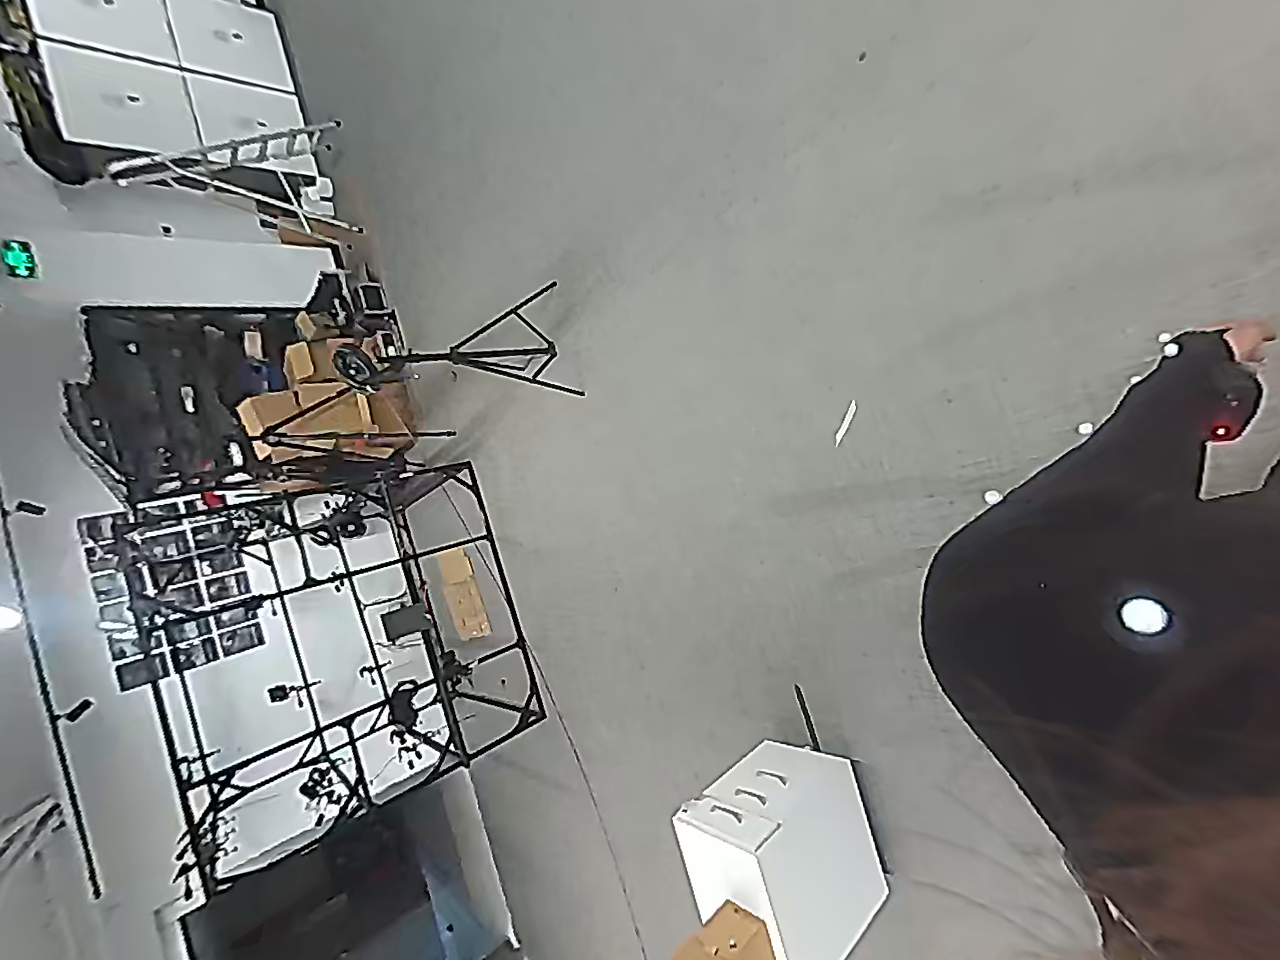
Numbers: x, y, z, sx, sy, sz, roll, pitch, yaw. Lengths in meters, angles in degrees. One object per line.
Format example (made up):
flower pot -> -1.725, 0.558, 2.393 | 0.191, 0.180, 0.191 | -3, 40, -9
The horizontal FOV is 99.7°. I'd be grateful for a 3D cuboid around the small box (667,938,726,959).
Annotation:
small box -> 0.173, 1.495, 1.573 | 0.179, 0.176, 0.168 | -14, 92, 52
